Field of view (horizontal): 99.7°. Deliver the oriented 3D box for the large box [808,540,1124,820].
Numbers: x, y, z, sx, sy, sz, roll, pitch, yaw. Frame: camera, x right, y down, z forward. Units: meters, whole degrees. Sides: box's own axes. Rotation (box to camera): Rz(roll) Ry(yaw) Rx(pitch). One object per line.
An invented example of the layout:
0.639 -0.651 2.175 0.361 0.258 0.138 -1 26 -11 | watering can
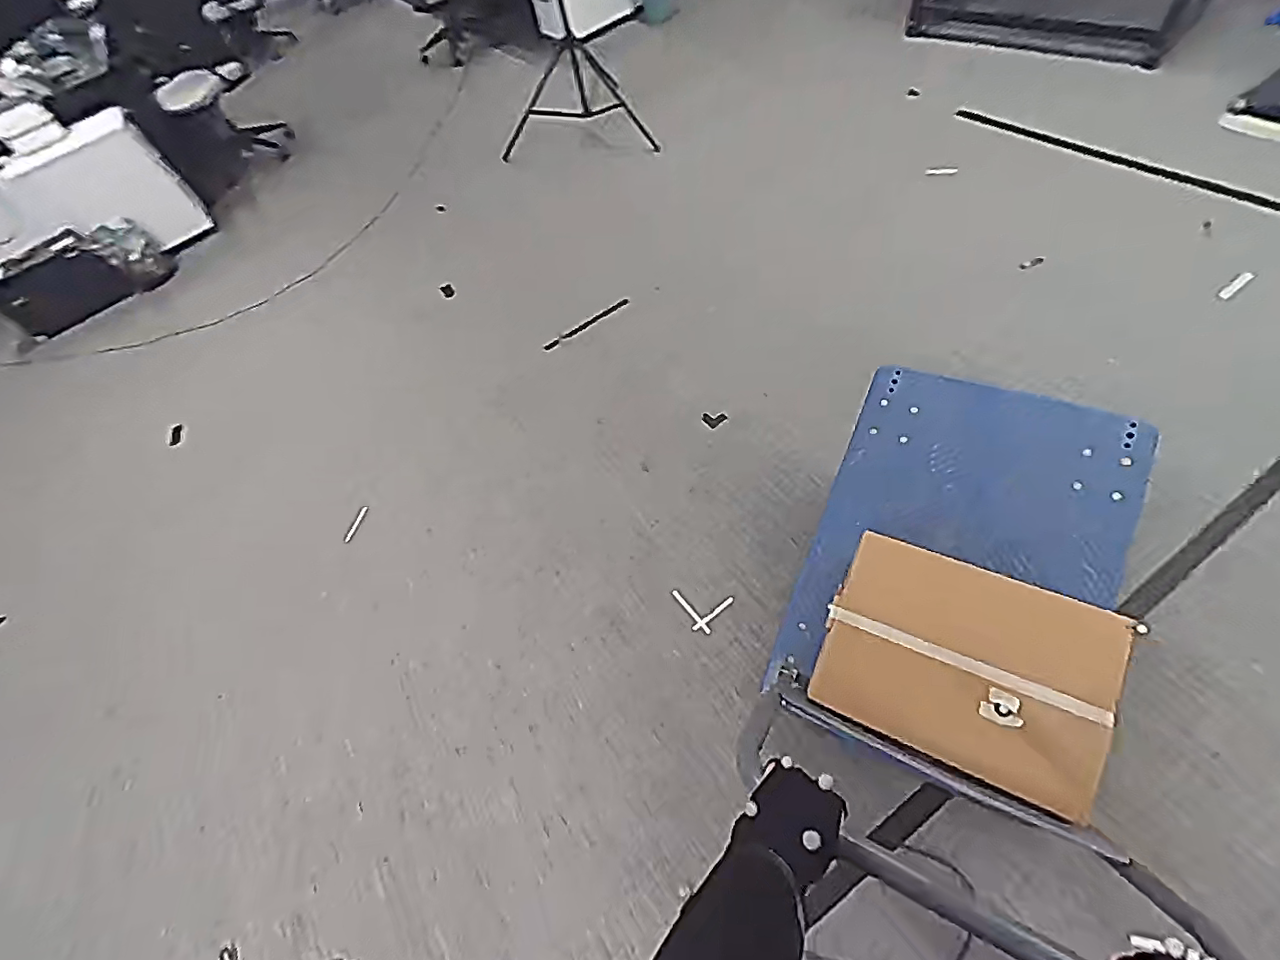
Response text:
0.560 0.346 1.019 0.408 0.320 0.320 20 80 22 | large box
